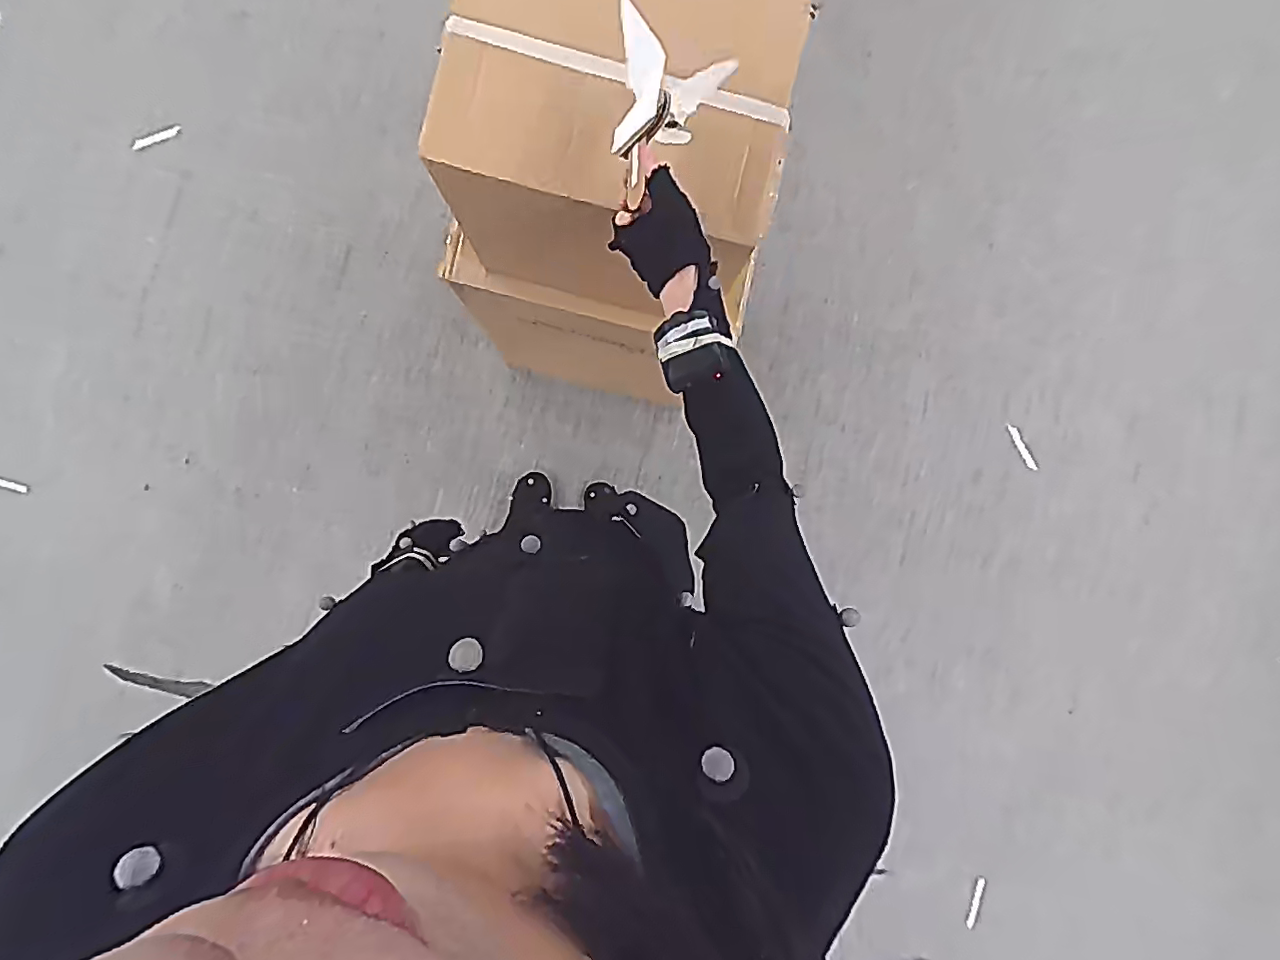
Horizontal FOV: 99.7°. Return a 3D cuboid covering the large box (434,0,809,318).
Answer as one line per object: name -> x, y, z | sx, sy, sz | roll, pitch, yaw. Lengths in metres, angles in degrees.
large box -> -0.029, -0.475, 0.794 | 0.408, 0.320, 0.320 | 14, 88, -4
